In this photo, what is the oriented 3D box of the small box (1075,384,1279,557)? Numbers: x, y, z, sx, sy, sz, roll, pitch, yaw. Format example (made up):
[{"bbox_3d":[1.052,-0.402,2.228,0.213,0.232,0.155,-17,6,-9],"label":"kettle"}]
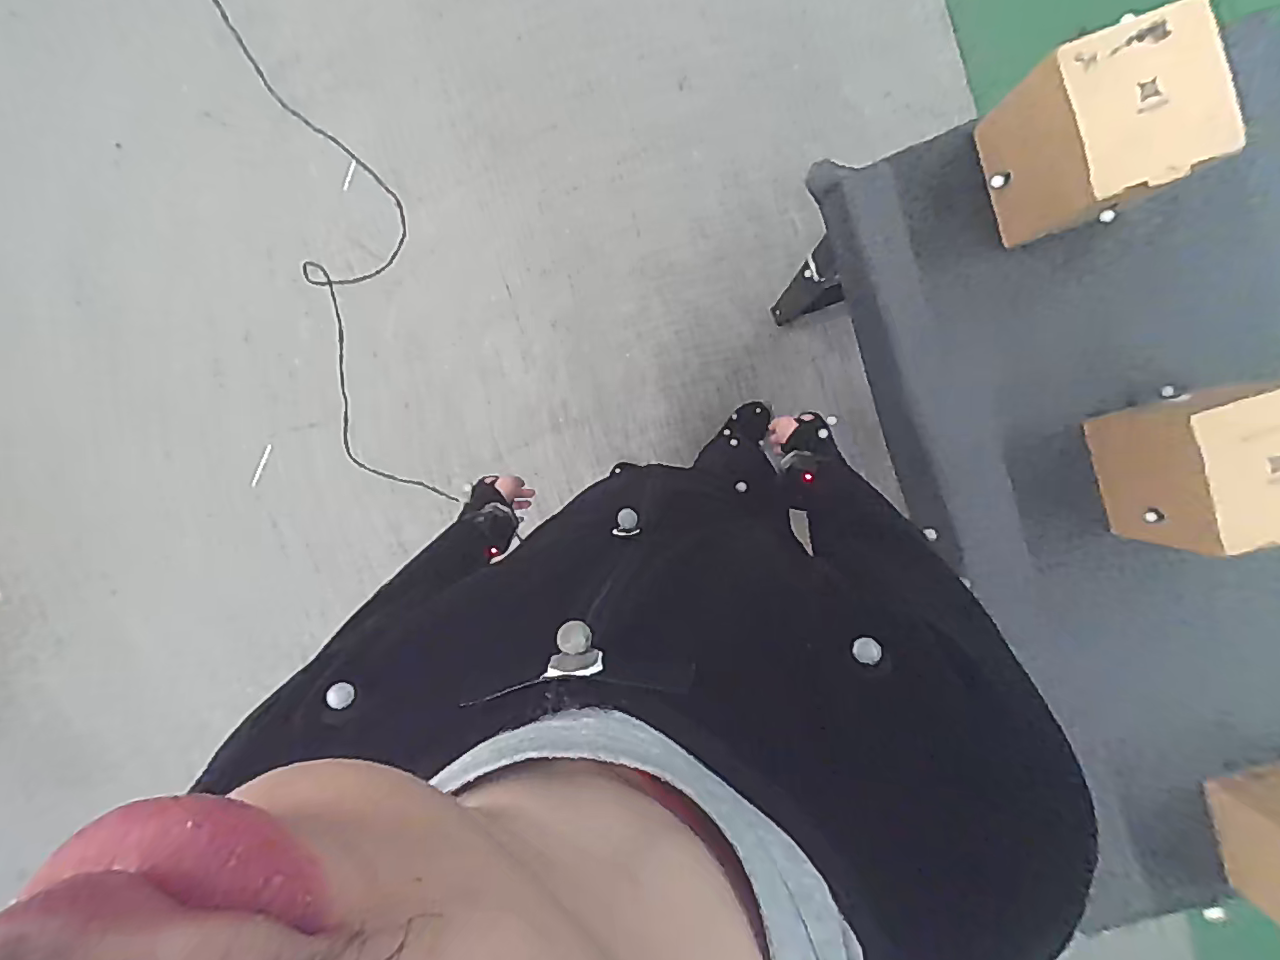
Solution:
[{"bbox_3d":[0.730,-0.018,0.708,0.168,0.176,0.179,-18,92,2],"label":"small box"}]

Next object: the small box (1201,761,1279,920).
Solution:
[{"bbox_3d":[0.930,0.510,0.734,0.168,0.176,0.179,-17,94,3],"label":"small box"}]

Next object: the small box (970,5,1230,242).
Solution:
[{"bbox_3d":[0.560,-0.423,0.682,0.168,0.176,0.179,-18,95,3],"label":"small box"}]
